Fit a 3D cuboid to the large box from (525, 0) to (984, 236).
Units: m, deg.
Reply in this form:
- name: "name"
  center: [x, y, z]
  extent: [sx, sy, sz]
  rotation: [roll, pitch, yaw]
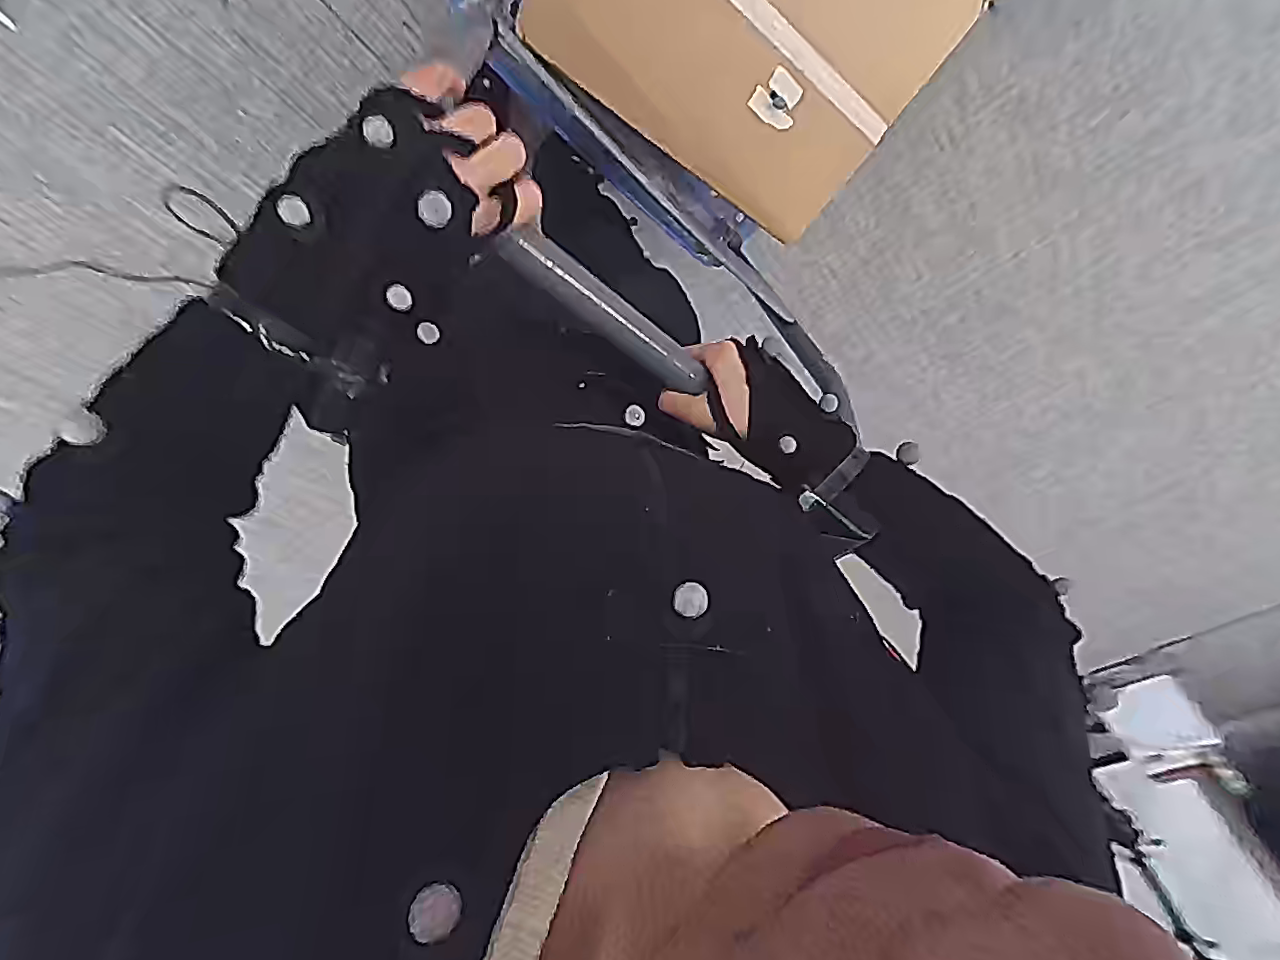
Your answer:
- name: "large box"
  center: [0.105, -0.588, 0.656]
  extent: [0.408, 0.320, 0.320]
  rotation: [21, 128, -29]
